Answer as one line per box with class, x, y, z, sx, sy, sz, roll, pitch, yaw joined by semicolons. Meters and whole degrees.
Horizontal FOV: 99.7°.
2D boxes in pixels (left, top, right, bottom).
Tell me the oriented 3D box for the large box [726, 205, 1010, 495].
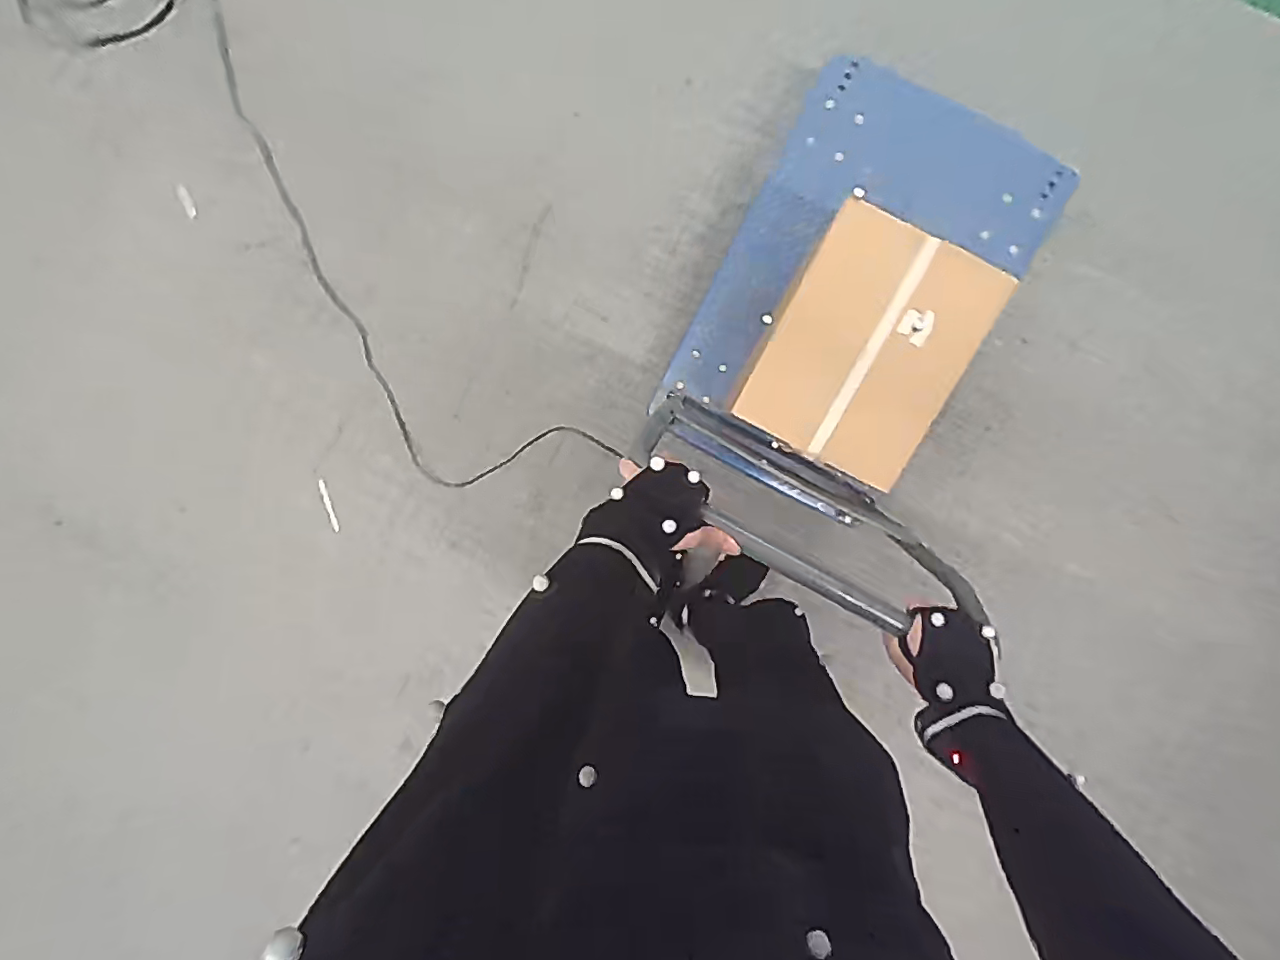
large box;0.401;-0.232;1.067;0.320;0.320;0.408;28;99;0
